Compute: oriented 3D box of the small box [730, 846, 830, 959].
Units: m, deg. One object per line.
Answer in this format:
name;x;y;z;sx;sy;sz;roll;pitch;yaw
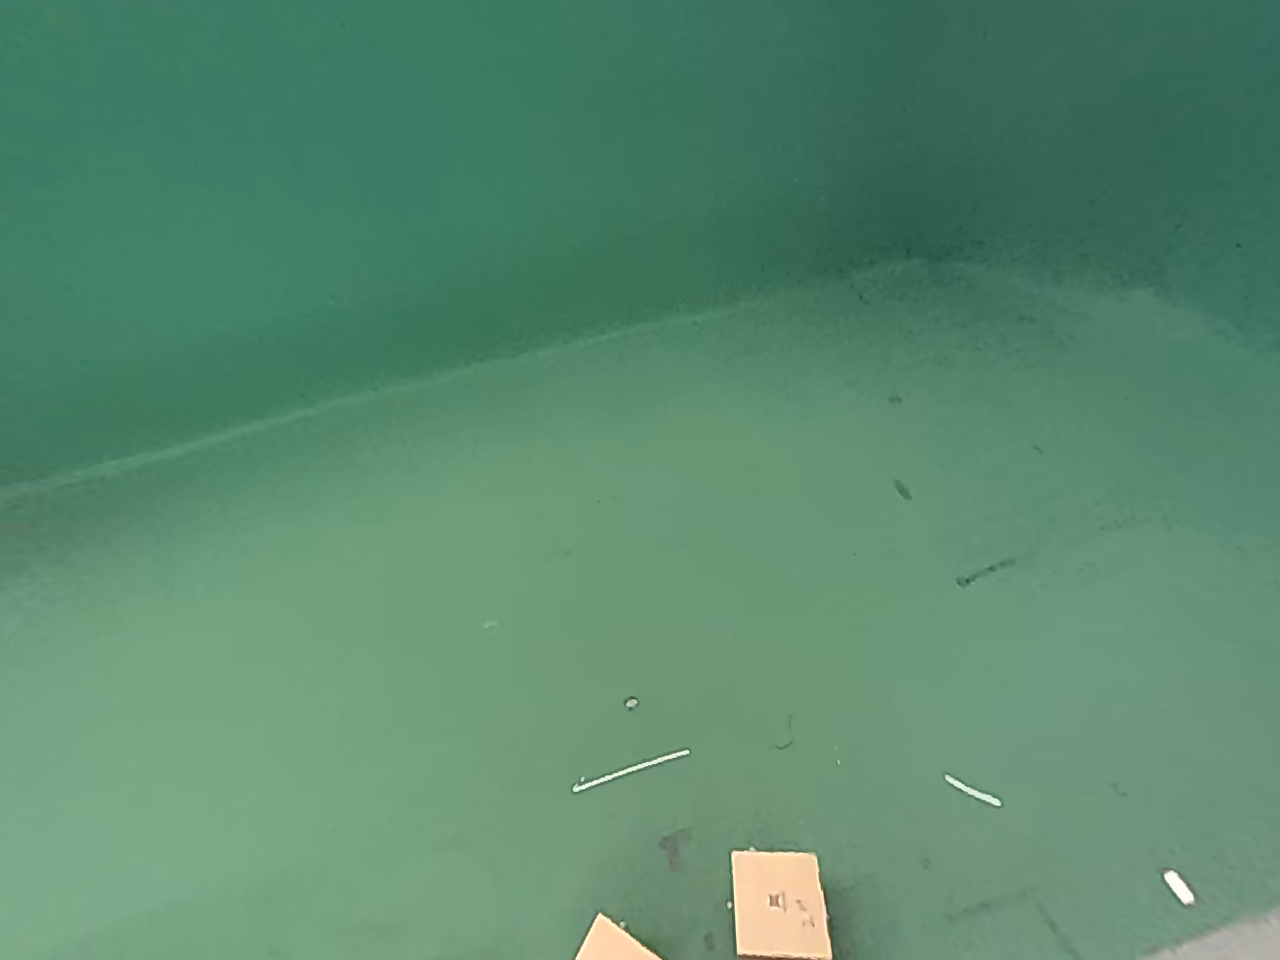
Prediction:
small box;0.279;0.872;1.109;0.179;0.176;0.168;-3;42;8
